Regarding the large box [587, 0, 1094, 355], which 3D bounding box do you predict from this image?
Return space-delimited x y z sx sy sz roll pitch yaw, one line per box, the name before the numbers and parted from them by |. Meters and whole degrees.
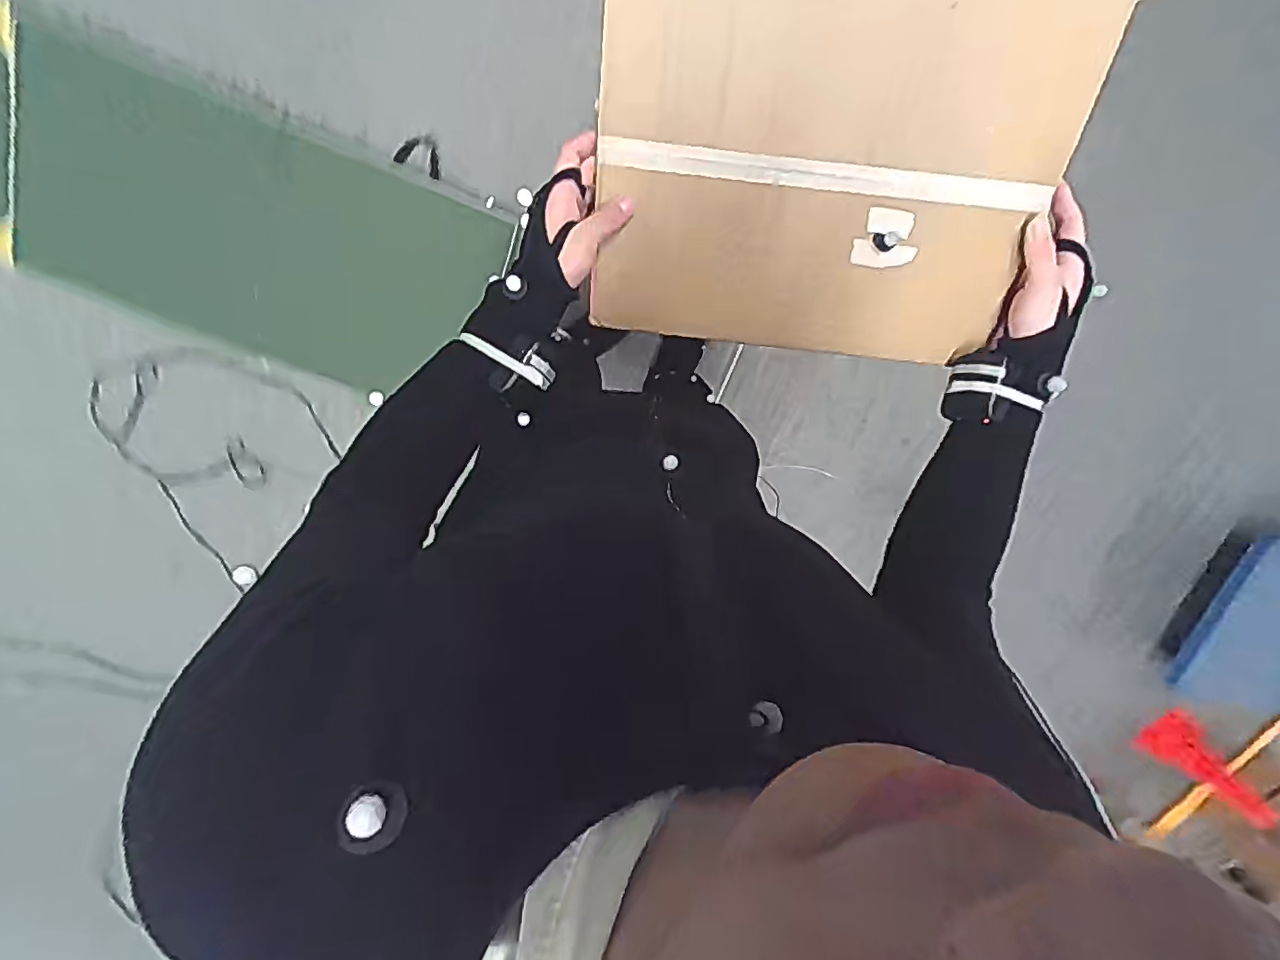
large box | 0.153 -0.349 0.619 0.408 0.320 0.320 4 121 -1
